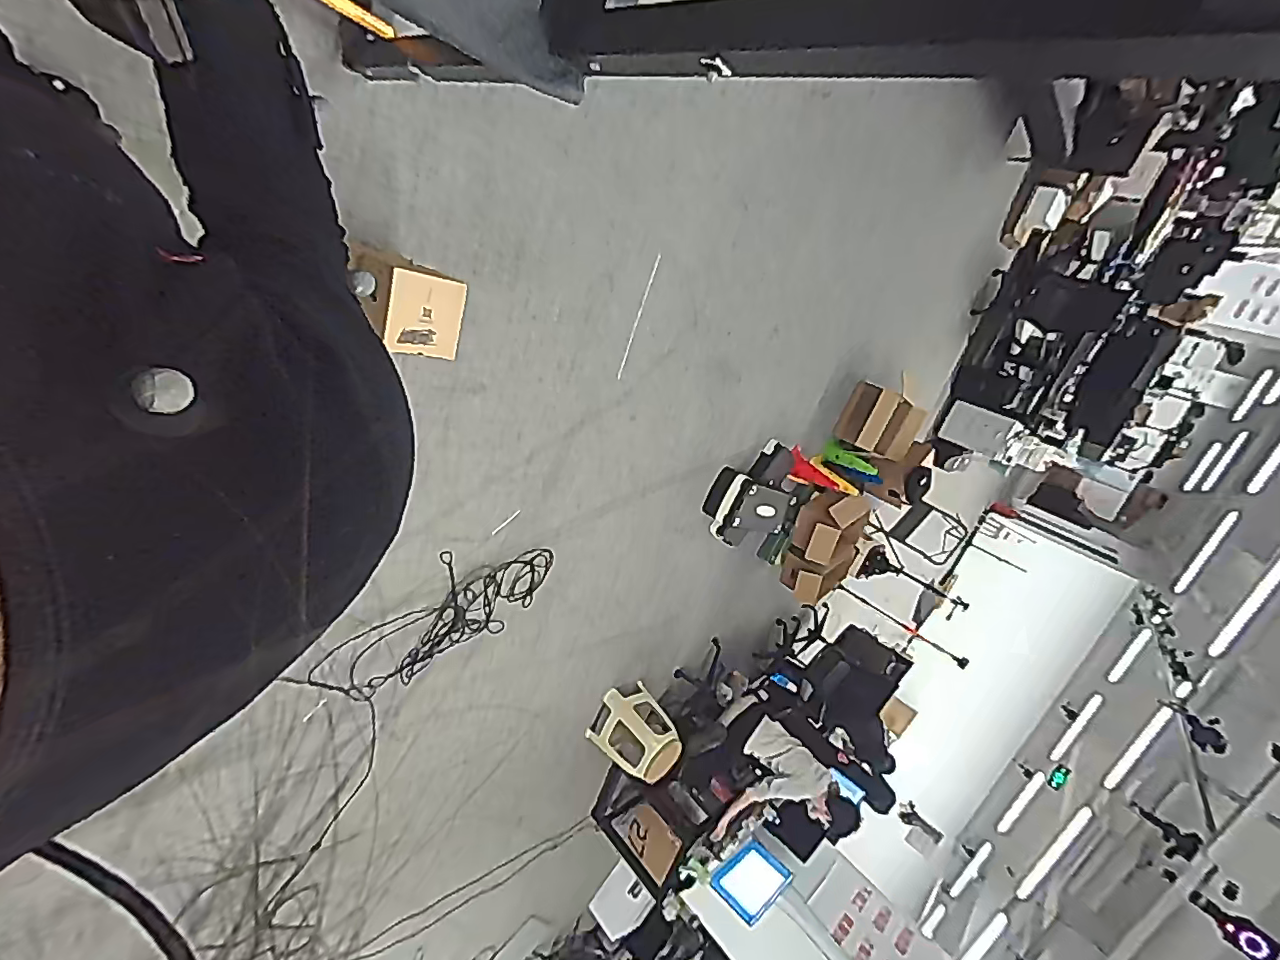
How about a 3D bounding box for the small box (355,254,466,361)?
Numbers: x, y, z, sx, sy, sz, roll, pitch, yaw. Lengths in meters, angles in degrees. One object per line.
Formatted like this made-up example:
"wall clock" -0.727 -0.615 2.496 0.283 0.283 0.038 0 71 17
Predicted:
"small box" -0.518 -0.383 1.206 0.168 0.176 0.179 -3 118 -47
